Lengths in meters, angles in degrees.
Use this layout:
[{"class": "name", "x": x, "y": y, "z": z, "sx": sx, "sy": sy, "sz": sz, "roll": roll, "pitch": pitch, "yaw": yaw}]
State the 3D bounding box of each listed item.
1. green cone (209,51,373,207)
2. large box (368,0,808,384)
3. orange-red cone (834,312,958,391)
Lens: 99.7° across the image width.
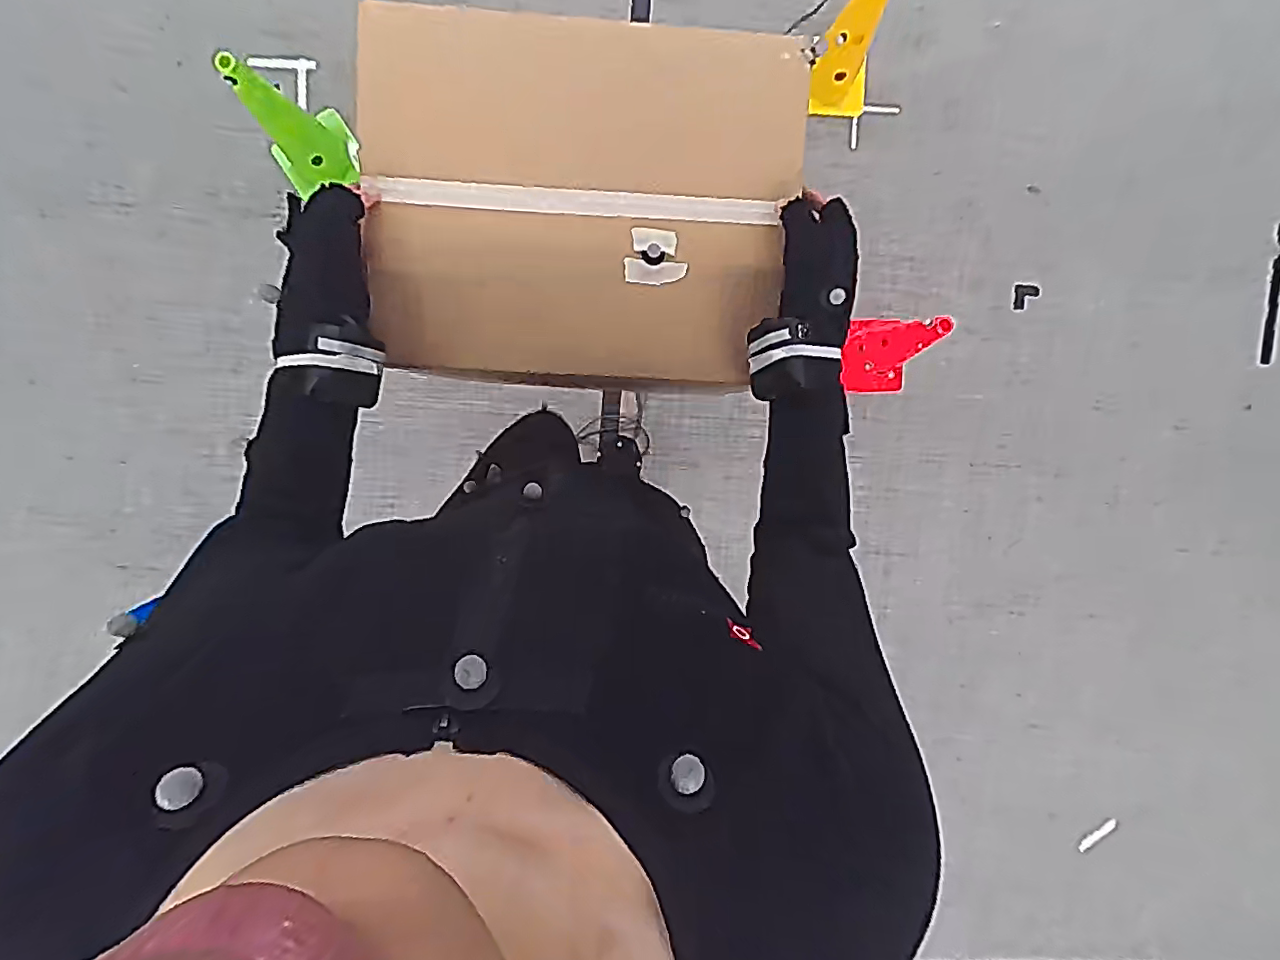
[{"class": "green cone", "x": -0.818, "y": -0.833, "z": 1.230, "sx": 0.202, "sy": 0.368, "sz": 0.200, "roll": -34, "pitch": 92, "yaw": 1}, {"class": "large box", "x": -0.057, "y": -0.285, "z": 0.651, "sx": 0.408, "sy": 0.320, "sz": 0.320, "roll": 2, "pitch": 98, "yaw": -3}, {"class": "orange-red cone", "x": 0.637, "y": -0.341, "z": 1.305, "sx": 0.198, "sy": 0.360, "sz": 0.199, "roll": 1, "pitch": 91, "yaw": -3}]
